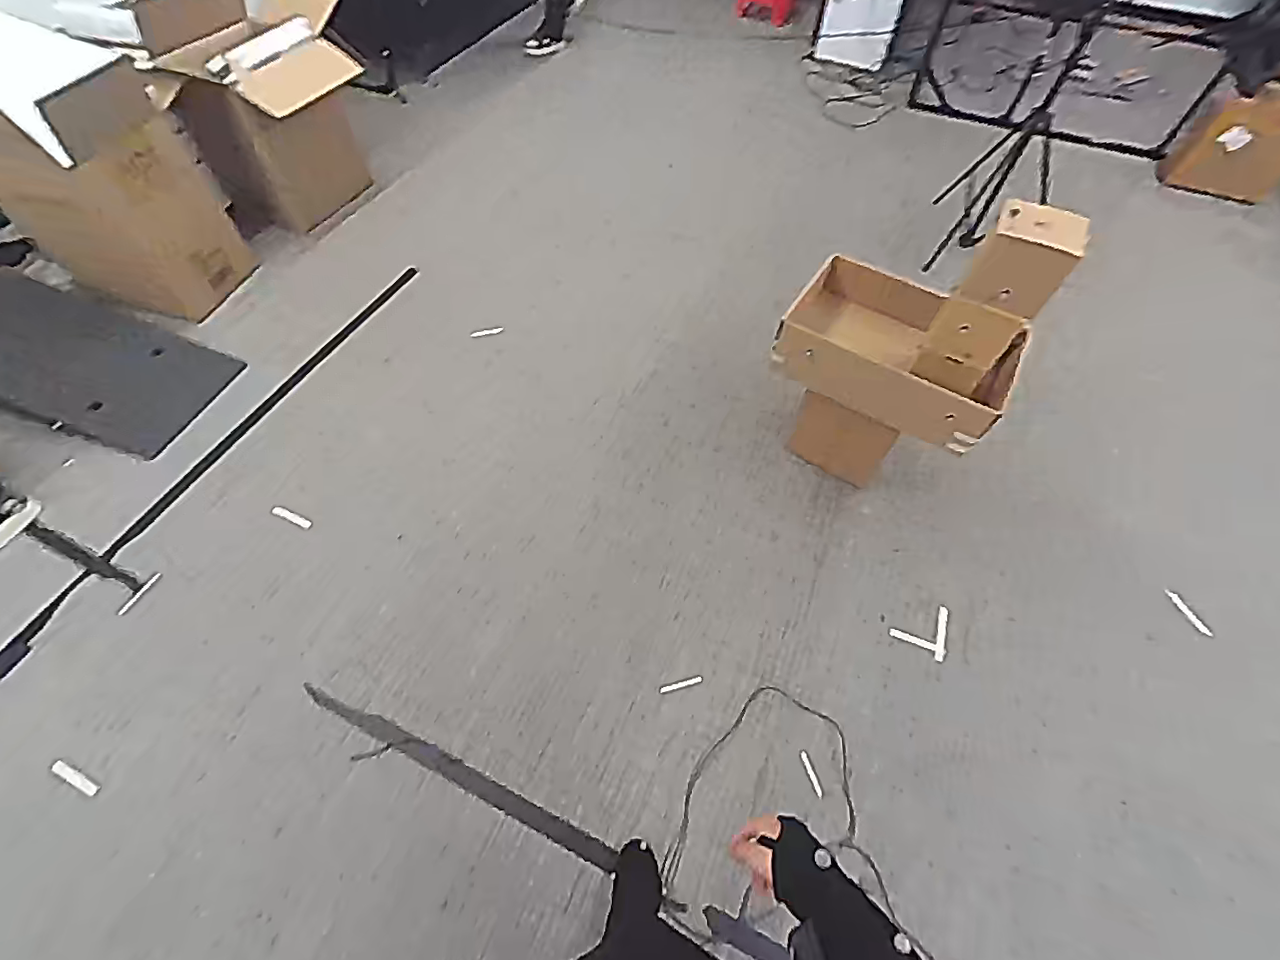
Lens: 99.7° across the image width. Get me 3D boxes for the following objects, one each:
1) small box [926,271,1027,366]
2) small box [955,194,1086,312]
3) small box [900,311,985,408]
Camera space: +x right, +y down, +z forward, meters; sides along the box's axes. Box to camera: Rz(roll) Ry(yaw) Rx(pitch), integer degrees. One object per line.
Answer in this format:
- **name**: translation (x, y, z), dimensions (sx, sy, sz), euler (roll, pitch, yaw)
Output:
- **small box**: translation (0.859, -0.422, 1.374), dimensions (0.168, 0.176, 0.179), euler (27, 60, 15)
- **small box**: translation (0.867, -0.513, 1.238), dimensions (0.179, 0.176, 0.168), euler (26, 59, 14)
- **small box**: translation (0.853, -0.333, 1.510), dimensions (0.168, 0.176, 0.179), euler (27, 59, 15)
